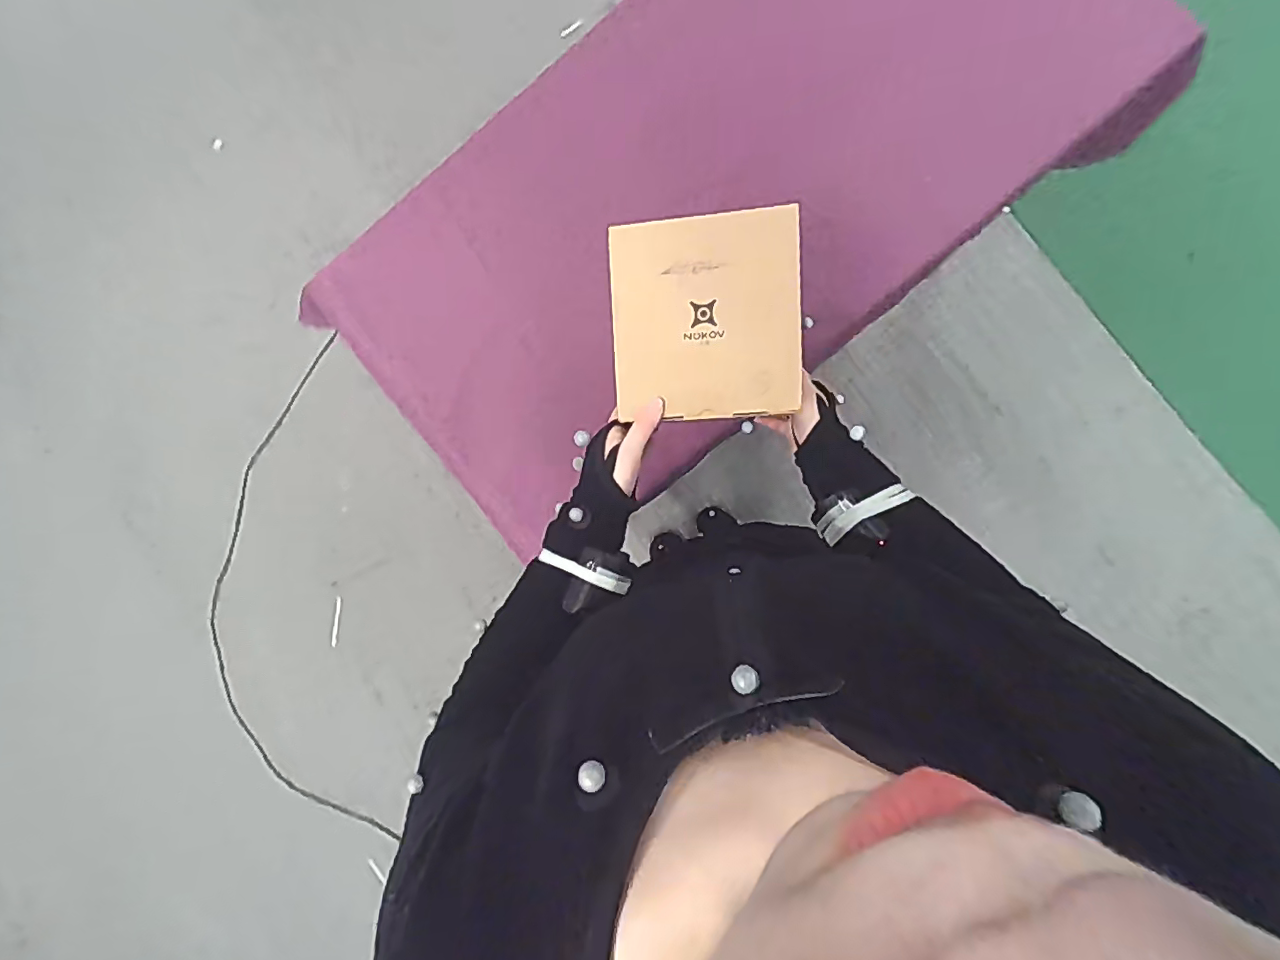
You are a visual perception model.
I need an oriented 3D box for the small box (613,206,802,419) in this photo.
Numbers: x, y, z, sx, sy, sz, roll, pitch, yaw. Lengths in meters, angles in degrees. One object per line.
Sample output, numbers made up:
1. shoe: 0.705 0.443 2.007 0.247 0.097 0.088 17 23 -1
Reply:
1. small box: 0.071 -0.152 0.552 0.168 0.176 0.179 0 96 10
